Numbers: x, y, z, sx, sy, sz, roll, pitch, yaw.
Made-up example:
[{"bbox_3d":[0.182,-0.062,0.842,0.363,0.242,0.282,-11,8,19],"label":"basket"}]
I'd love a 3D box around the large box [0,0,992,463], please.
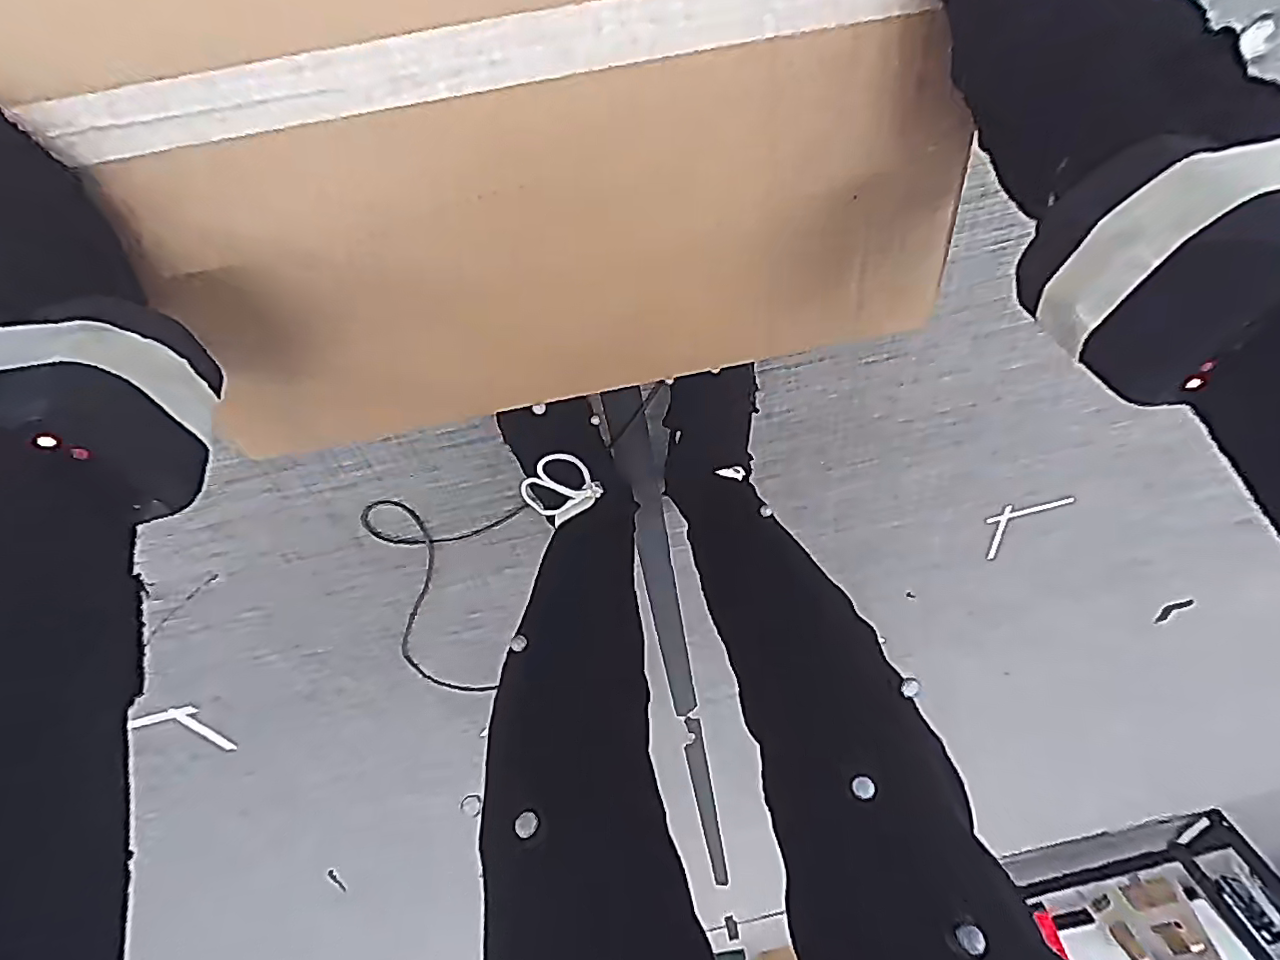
[{"bbox_3d":[-0.068,-0.256,0.340,0.408,0.320,0.320,-12,130,-2],"label":"large box"}]
